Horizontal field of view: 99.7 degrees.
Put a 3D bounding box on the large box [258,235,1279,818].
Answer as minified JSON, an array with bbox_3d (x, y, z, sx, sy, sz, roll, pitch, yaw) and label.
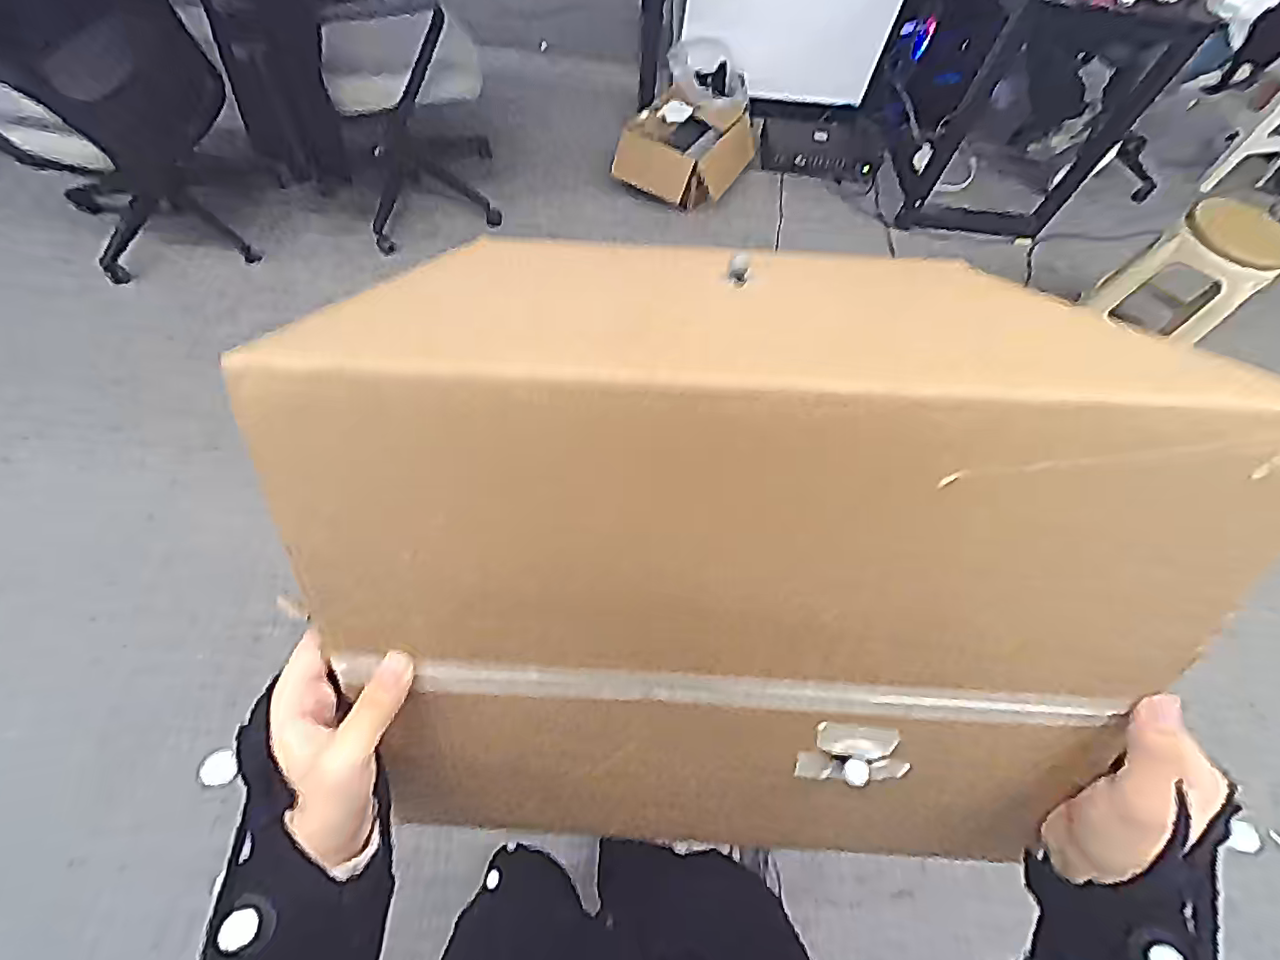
[{"bbox_3d":[0.057,0.003,0.395,0.408,0.320,0.320,2,32,1],"label":"large box"}]
